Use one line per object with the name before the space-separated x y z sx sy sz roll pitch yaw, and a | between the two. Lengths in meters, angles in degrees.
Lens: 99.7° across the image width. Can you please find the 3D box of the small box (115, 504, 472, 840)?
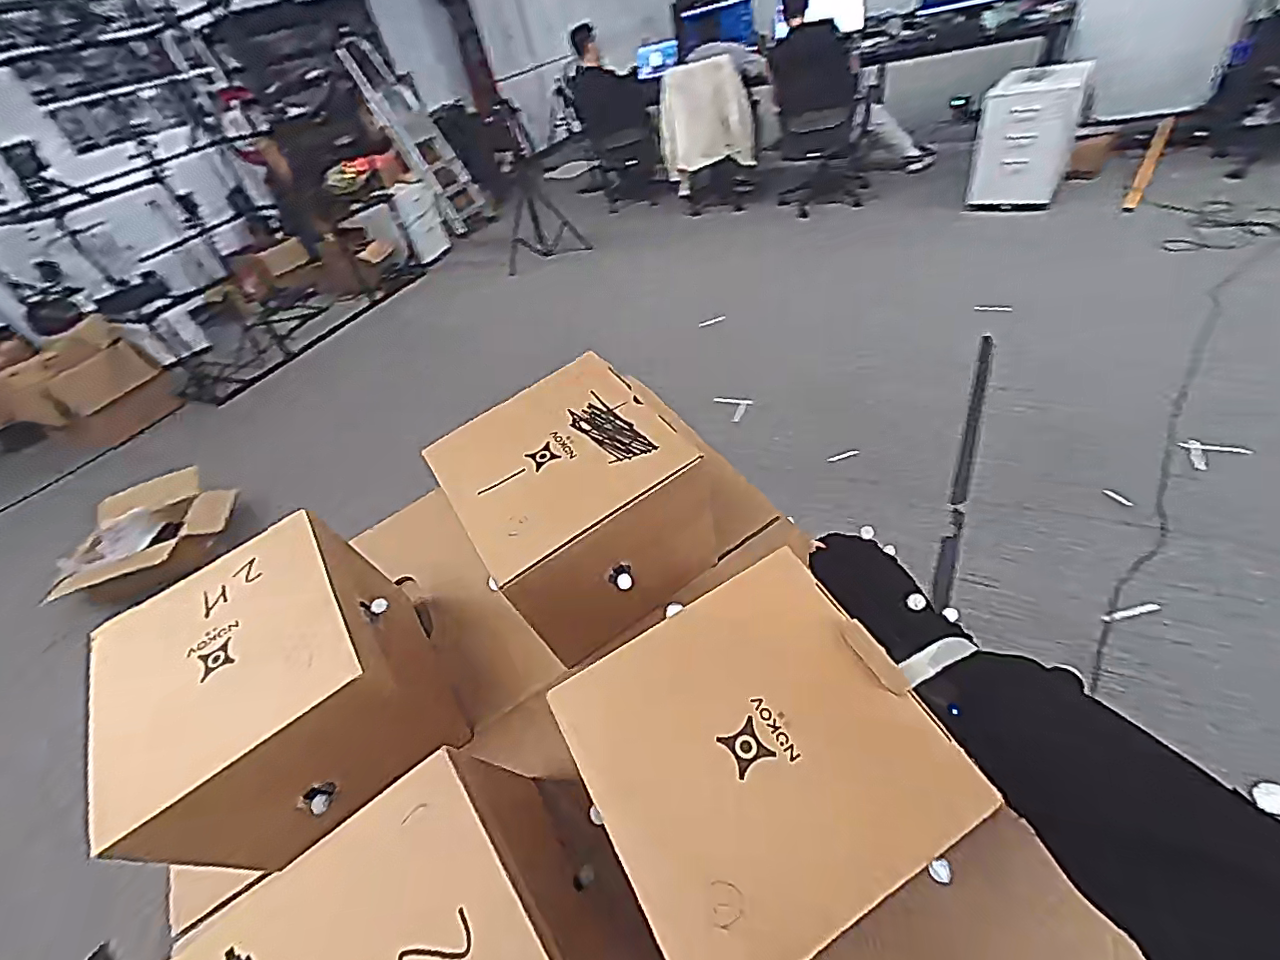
small box | -0.265 0.160 0.441 0.168 0.176 0.179 -33 52 -13

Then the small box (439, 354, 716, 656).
small box | -0.045 0.025 0.492 0.179 0.176 0.168 -32 53 -11
